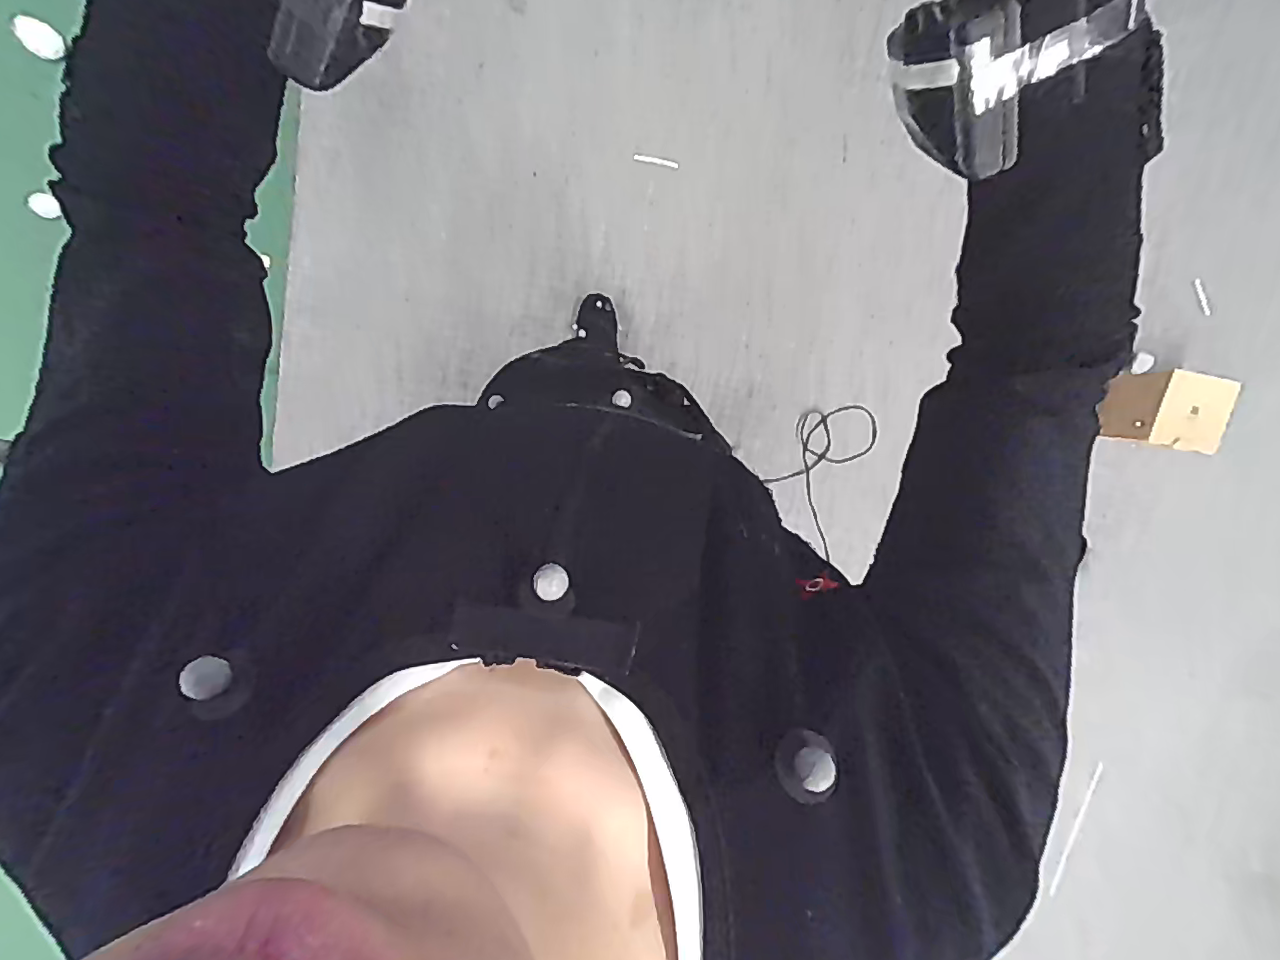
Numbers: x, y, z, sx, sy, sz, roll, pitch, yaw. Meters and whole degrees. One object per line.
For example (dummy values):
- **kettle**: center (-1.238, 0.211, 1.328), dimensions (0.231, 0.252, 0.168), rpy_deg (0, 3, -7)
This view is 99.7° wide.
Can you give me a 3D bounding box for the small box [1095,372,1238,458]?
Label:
- **small box**: center (1.290, -0.164, 1.341), dimensions (0.168, 0.176, 0.179), rpy_deg (11, 100, -1)
